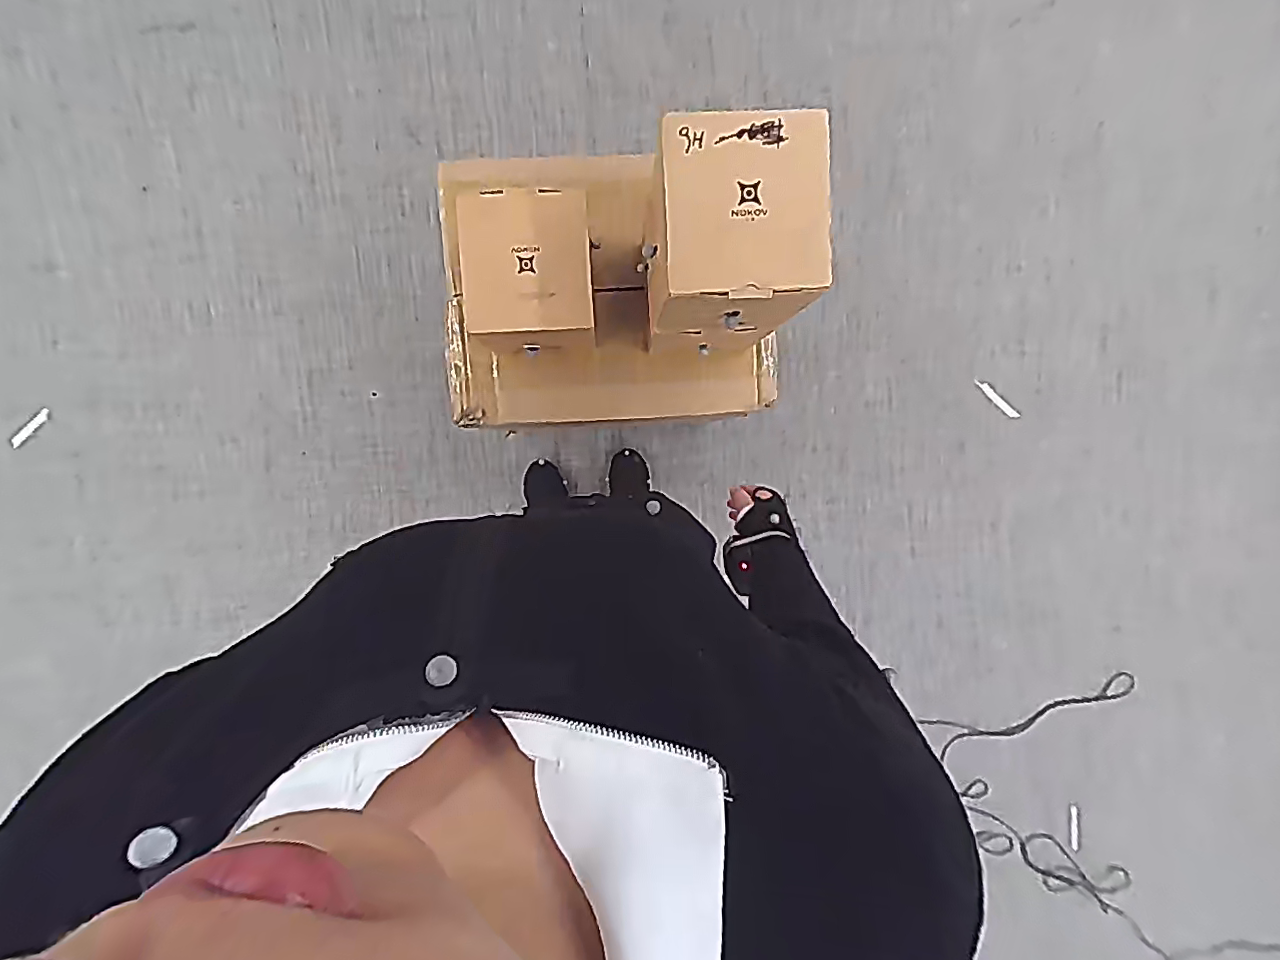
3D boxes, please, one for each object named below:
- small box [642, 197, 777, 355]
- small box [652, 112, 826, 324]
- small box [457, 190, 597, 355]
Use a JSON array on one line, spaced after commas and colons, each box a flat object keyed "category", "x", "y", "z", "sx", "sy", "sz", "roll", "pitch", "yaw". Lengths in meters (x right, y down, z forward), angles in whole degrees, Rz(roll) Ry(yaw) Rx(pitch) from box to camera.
[{"category": "small box", "x": 0.091, "y": -0.285, "z": 0.779, "sx": 0.168, "sy": 0.176, "sz": 0.179, "roll": -4, "pitch": 94, "yaw": -1}, {"category": "small box", "x": 0.101, "y": -0.278, "z": 0.615, "sx": 0.168, "sy": 0.176, "sz": 0.179, "roll": -3, "pitch": 95, "yaw": -2}, {"category": "small box", "x": -0.149, "y": -0.282, "z": 0.767, "sx": 0.168, "sy": 0.176, "sz": 0.179, "roll": -4, "pitch": 95, "yaw": -3}]
